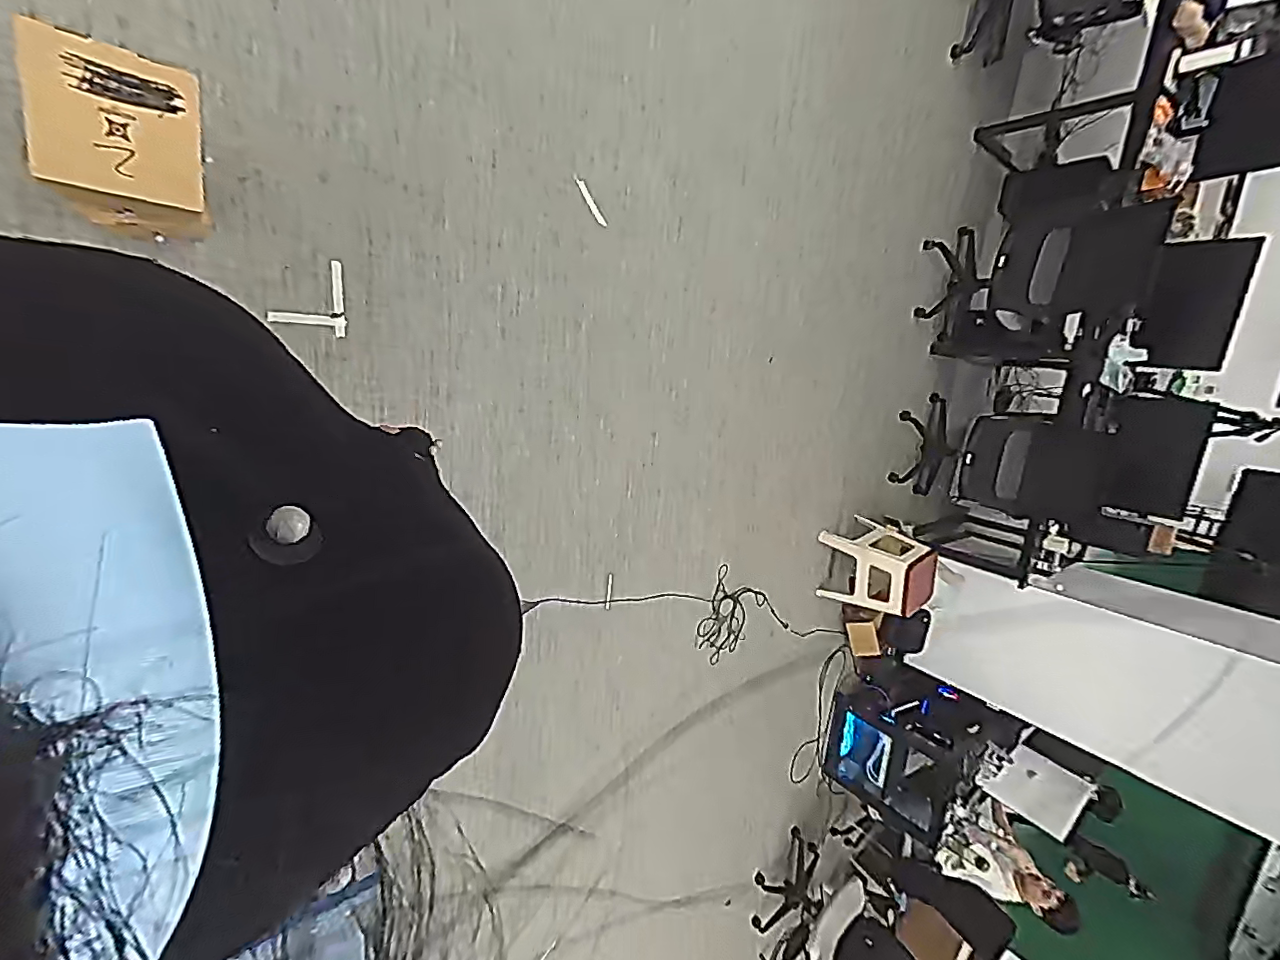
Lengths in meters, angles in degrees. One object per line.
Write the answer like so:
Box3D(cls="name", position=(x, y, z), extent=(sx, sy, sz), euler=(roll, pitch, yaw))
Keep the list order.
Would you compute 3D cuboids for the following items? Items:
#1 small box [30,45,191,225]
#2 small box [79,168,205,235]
Box3D(cls="small box", position=(-0.822, -0.523, 0.853), extent=(0.168, 0.176, 0.179), euler=(-3, 105, -40))
Box3D(cls="small box", position=(-0.920, -0.553, 0.980), extent=(0.168, 0.176, 0.179), euler=(-18, 114, -35))
